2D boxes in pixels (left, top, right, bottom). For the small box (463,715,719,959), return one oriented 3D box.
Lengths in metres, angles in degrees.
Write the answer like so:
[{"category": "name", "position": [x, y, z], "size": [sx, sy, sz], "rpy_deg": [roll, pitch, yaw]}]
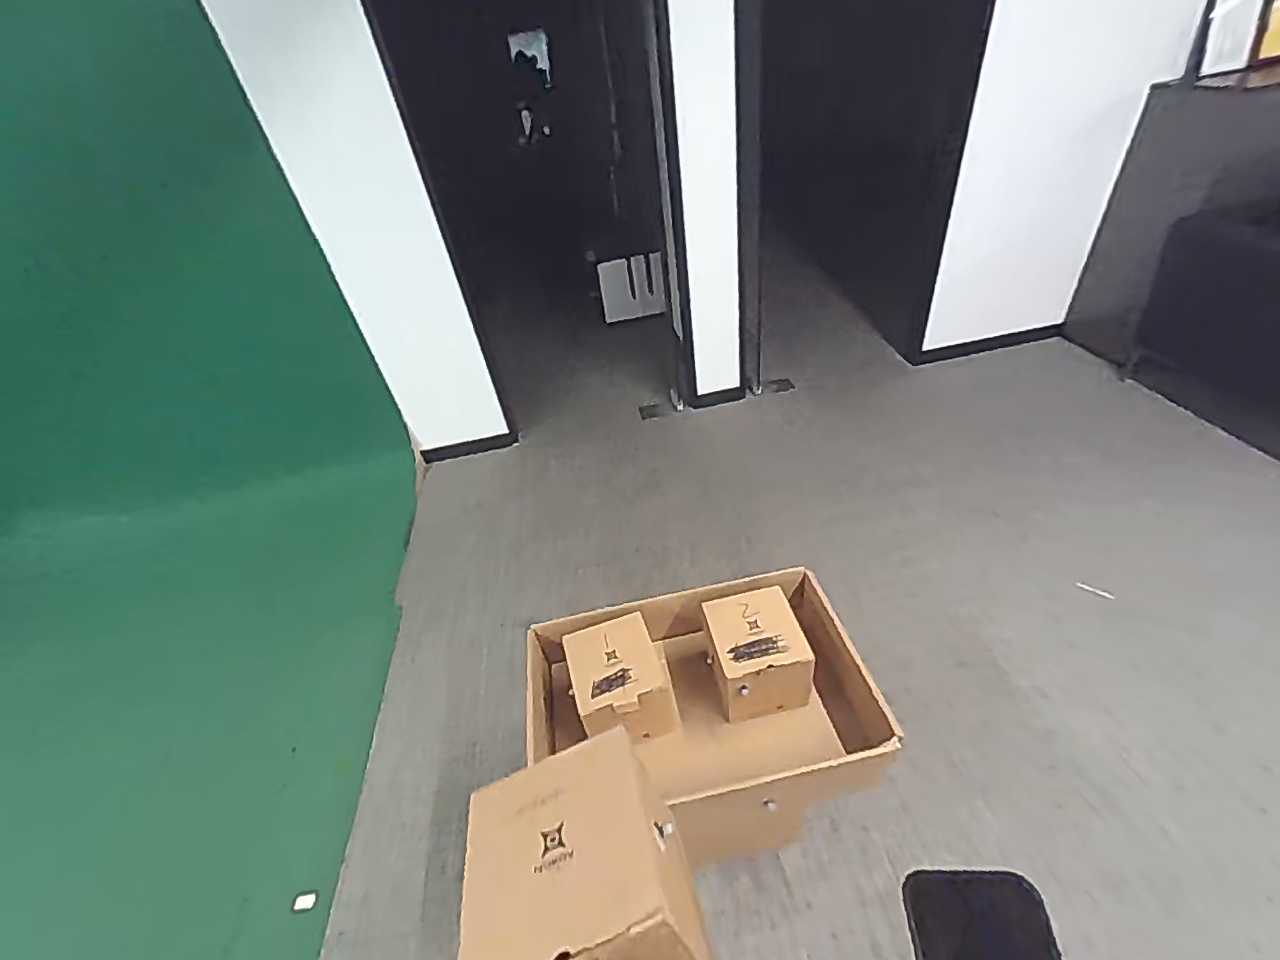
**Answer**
[{"category": "small box", "position": [-0.043, 0.367, 0.500], "size": [0.168, 0.176, 0.179], "rpy_deg": [-23, 26, -2]}]
